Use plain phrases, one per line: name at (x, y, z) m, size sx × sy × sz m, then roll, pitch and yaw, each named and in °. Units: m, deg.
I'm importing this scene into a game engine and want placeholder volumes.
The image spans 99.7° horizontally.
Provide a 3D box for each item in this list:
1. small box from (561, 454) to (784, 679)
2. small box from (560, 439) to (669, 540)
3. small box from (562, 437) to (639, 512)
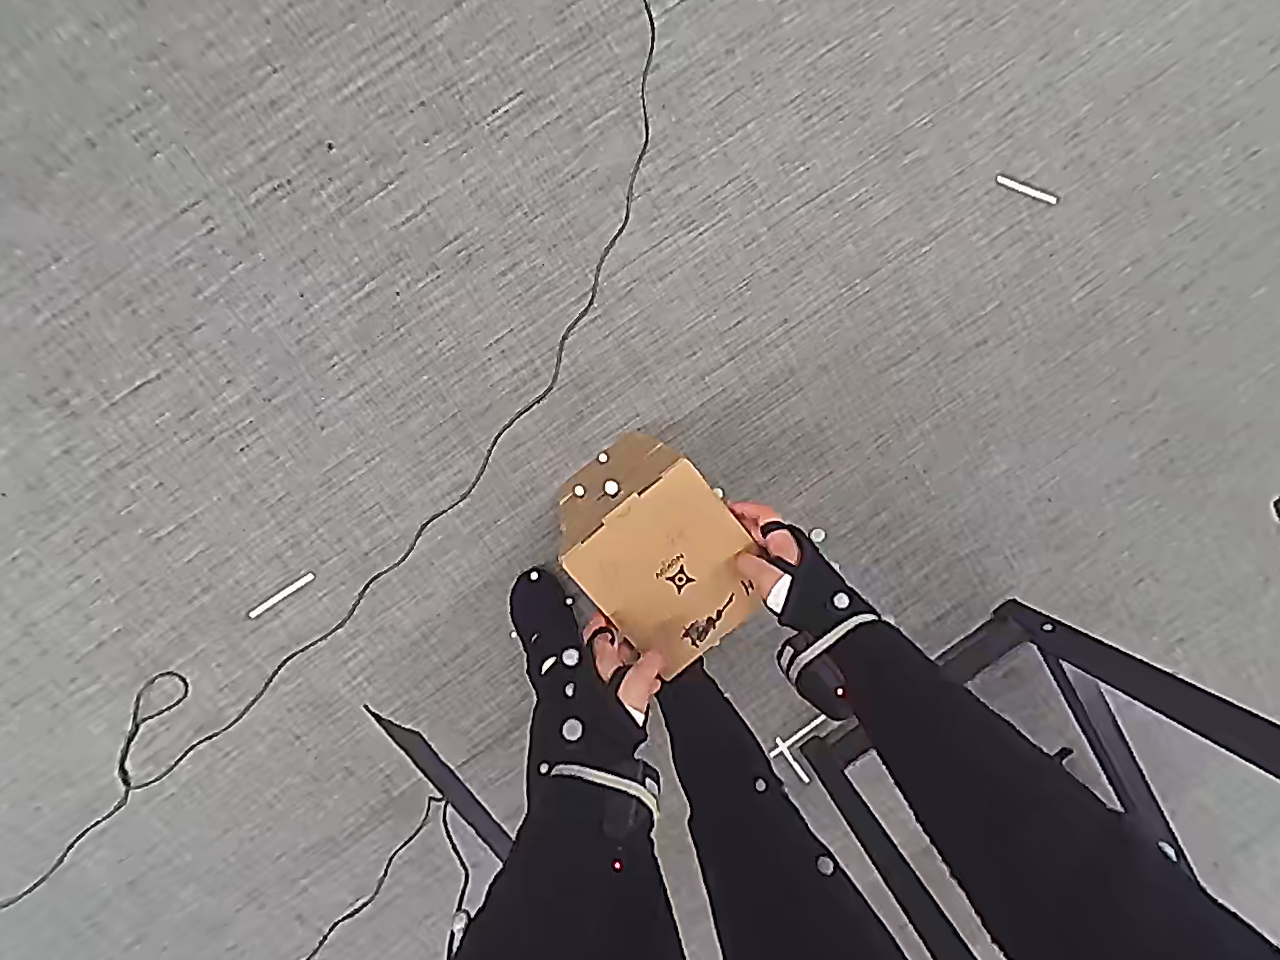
small box at (0.028, 0.084, 0.626) m, size 0.168 × 0.176 × 0.179 m, roll -39°, pitch 99°, yaw 1°
small box at (0.001, 0.057, 0.802) m, size 0.179 × 0.176 × 0.168 m, roll -41°, pitch 102°, yaw -1°
small box at (-0.024, 0.037, 0.961) m, size 0.179 × 0.176 × 0.168 m, roll -38°, pitch 101°, yaw 0°
